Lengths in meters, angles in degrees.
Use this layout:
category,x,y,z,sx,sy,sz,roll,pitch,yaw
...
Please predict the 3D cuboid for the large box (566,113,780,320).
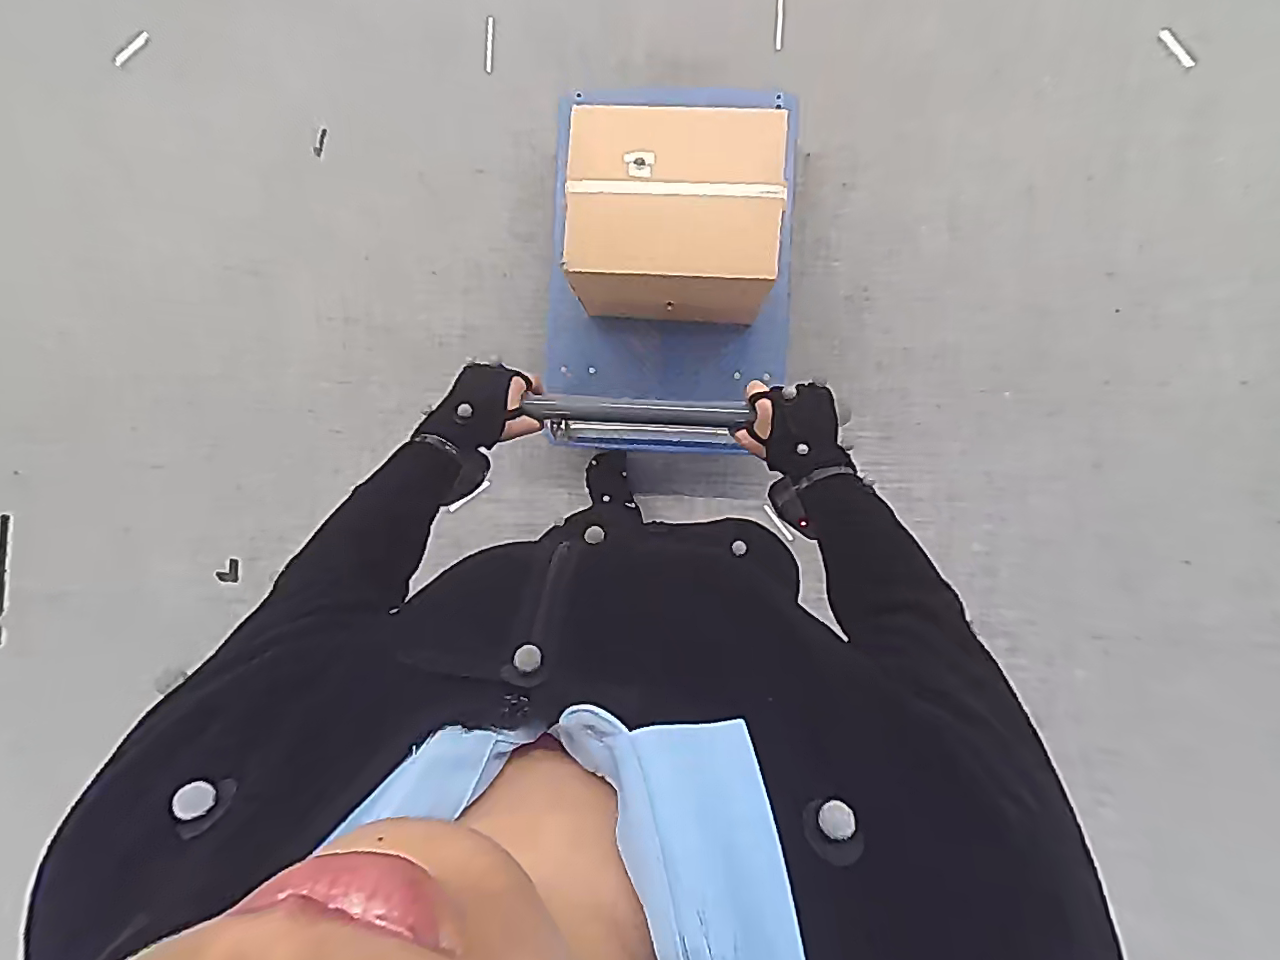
category,x,y,z,sx,sy,sz,roll,pitch,yaw
large box,0.074,-0.544,1.176,0.408,0.320,0.320,3,90,5
